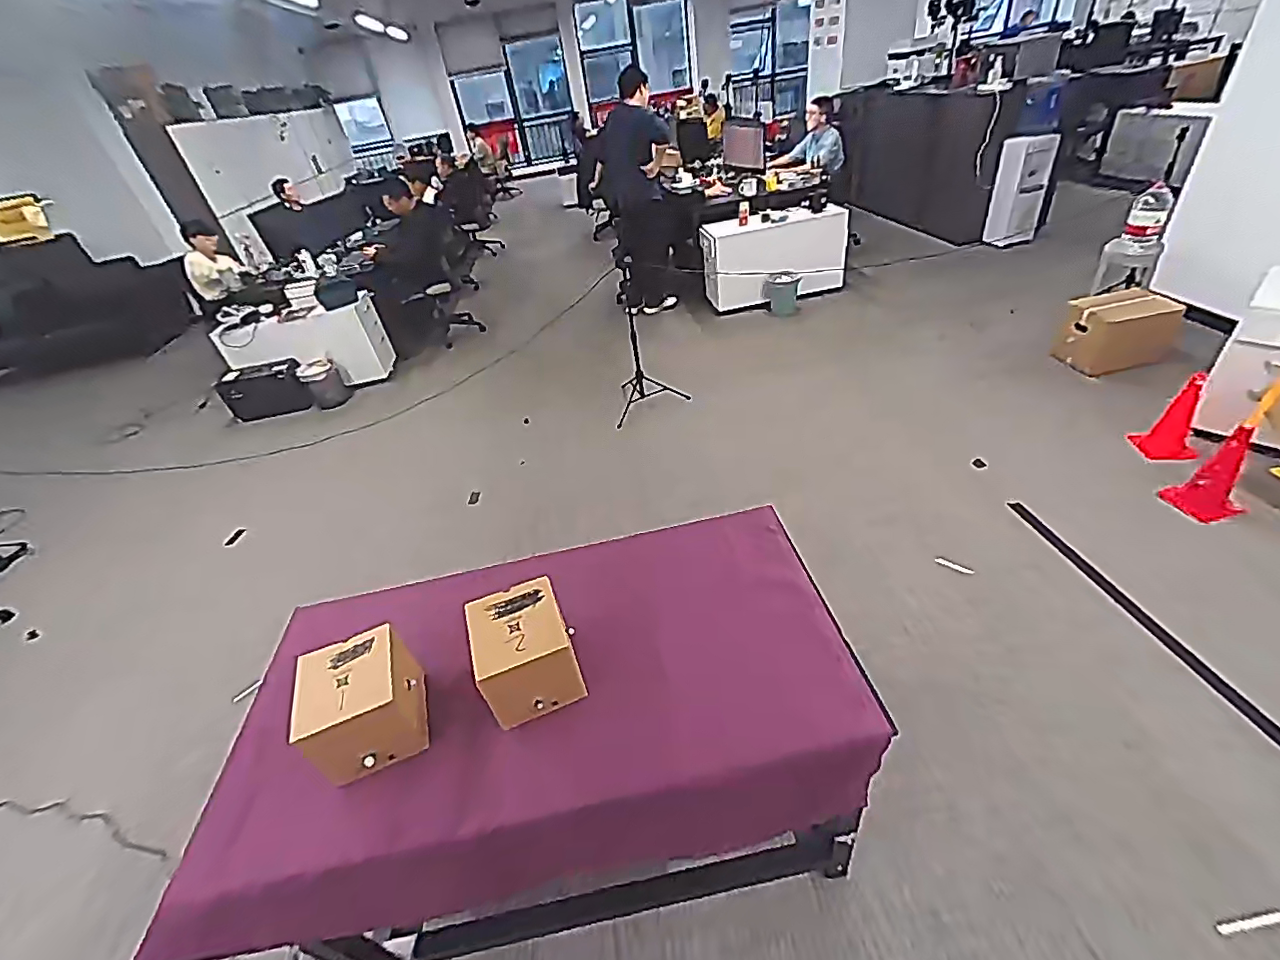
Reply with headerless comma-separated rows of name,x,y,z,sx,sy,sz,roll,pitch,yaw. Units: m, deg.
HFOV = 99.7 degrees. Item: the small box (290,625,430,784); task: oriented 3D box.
small box,-0.497,0.405,0.982,0.168,0.176,0.179,-20,39,-12
